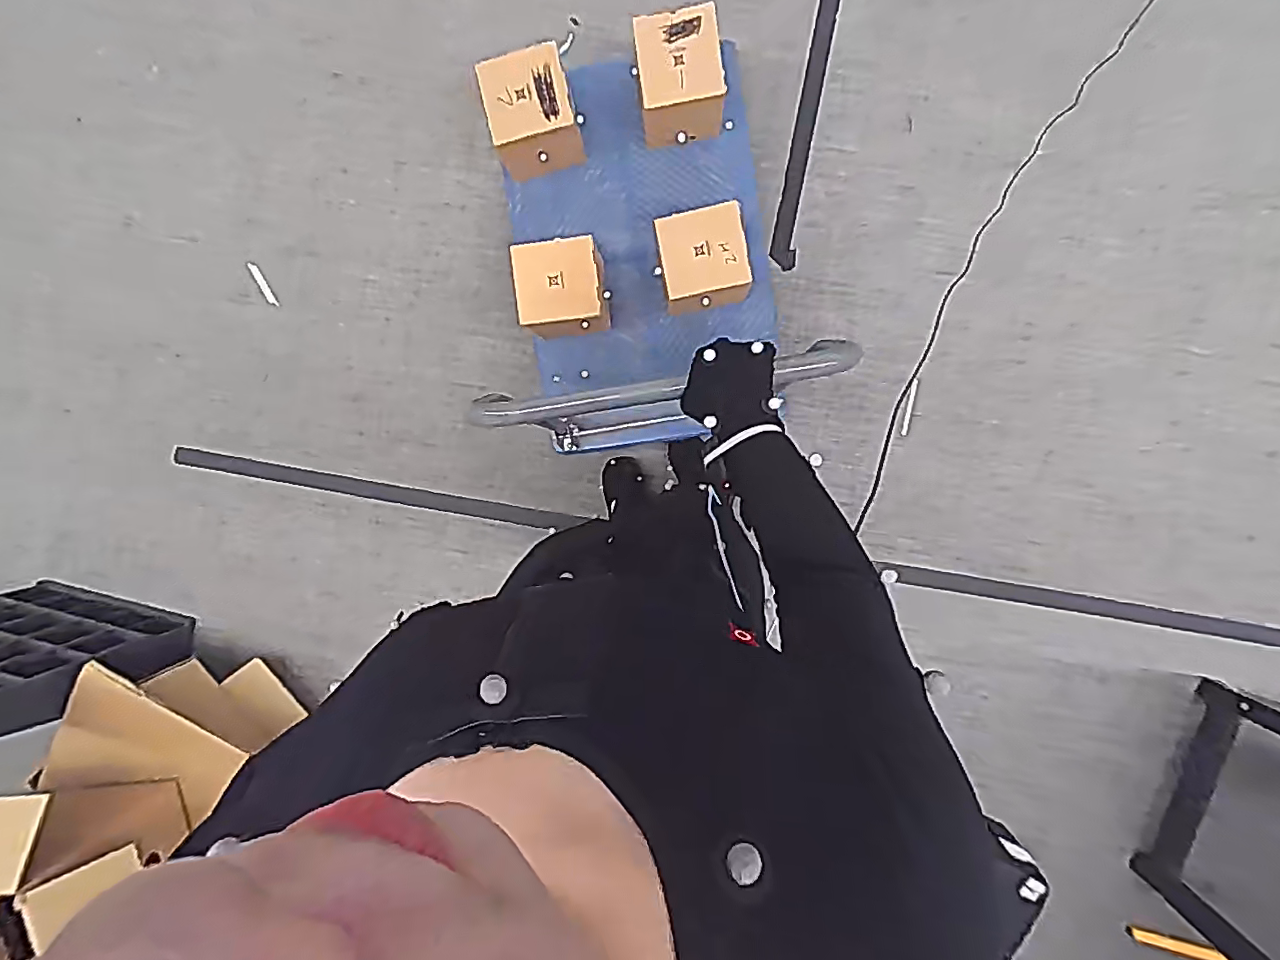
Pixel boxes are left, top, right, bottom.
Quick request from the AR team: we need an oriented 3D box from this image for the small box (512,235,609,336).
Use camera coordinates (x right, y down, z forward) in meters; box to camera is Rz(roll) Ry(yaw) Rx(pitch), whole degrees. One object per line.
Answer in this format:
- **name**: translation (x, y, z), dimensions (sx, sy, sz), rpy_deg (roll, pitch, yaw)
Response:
- **small box**: translation (-0.170, -0.423, 1.203), dimensions (0.179, 0.176, 0.168), rpy_deg (-6, 95, 3)

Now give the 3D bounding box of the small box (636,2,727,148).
- **small box**: translation (0.085, -0.845, 1.145), dimensions (0.168, 0.176, 0.179), rpy_deg (-8, 96, 4)

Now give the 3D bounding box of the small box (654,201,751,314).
- **small box**: translation (0.134, -0.473, 1.177), dimensions (0.179, 0.176, 0.168), rpy_deg (-10, 95, 5)
